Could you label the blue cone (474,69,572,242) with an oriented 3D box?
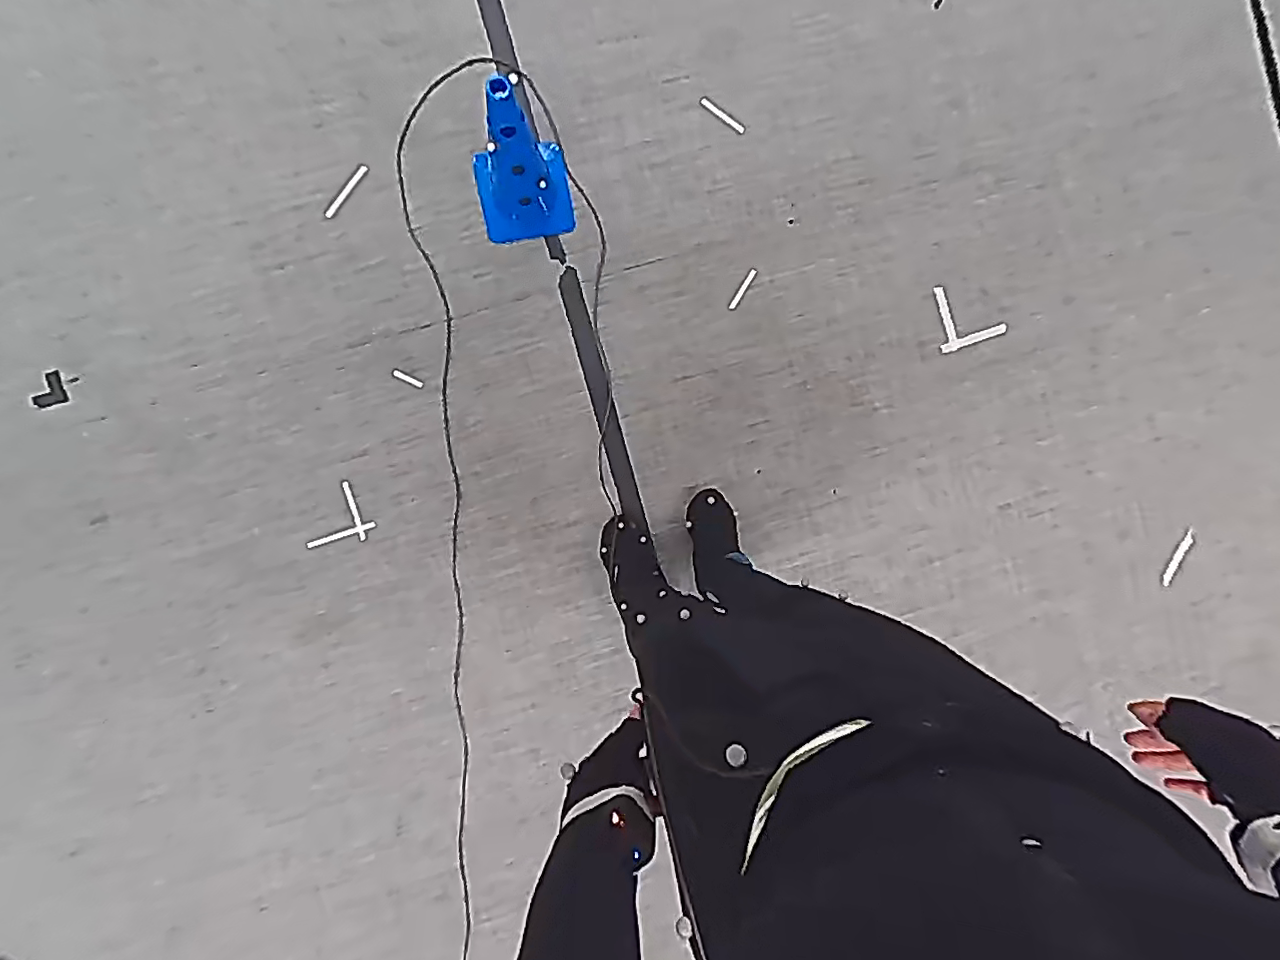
[{"bbox_3d":[-0.241,-0.618,1.021,0.193,0.380,0.192,-14,94,-4],"label":"blue cone"}]
